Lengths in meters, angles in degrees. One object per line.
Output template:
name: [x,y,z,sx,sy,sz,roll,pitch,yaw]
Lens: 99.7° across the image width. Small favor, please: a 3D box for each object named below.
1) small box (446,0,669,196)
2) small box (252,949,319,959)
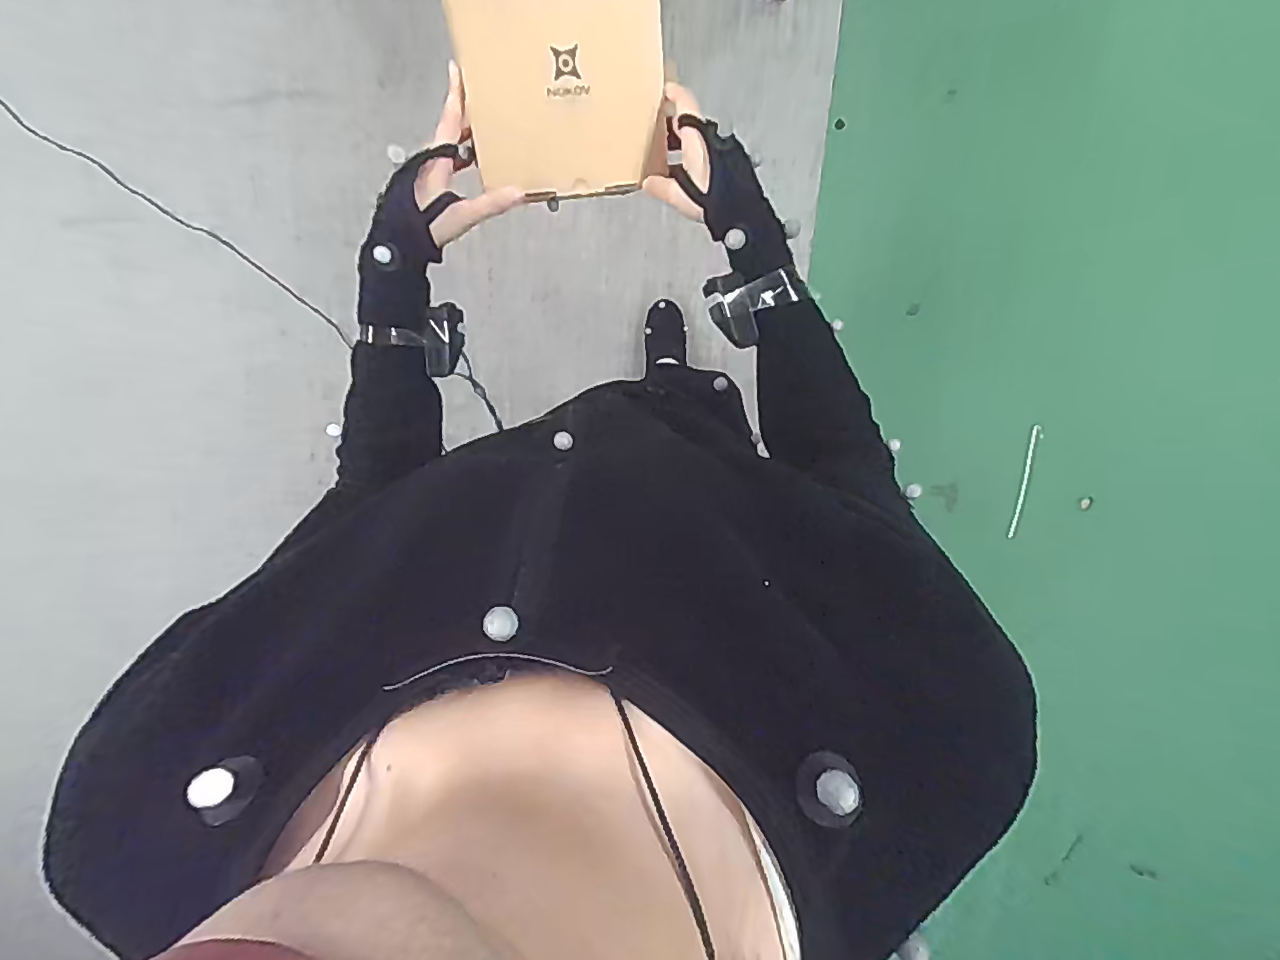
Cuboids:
small box: [-0.079,-0.367,0.496,0.168,0.176,0.179,-11,118,-11]
small box: [-0.727,1.073,1.056,0.179,0.176,0.168,9,100,1]
